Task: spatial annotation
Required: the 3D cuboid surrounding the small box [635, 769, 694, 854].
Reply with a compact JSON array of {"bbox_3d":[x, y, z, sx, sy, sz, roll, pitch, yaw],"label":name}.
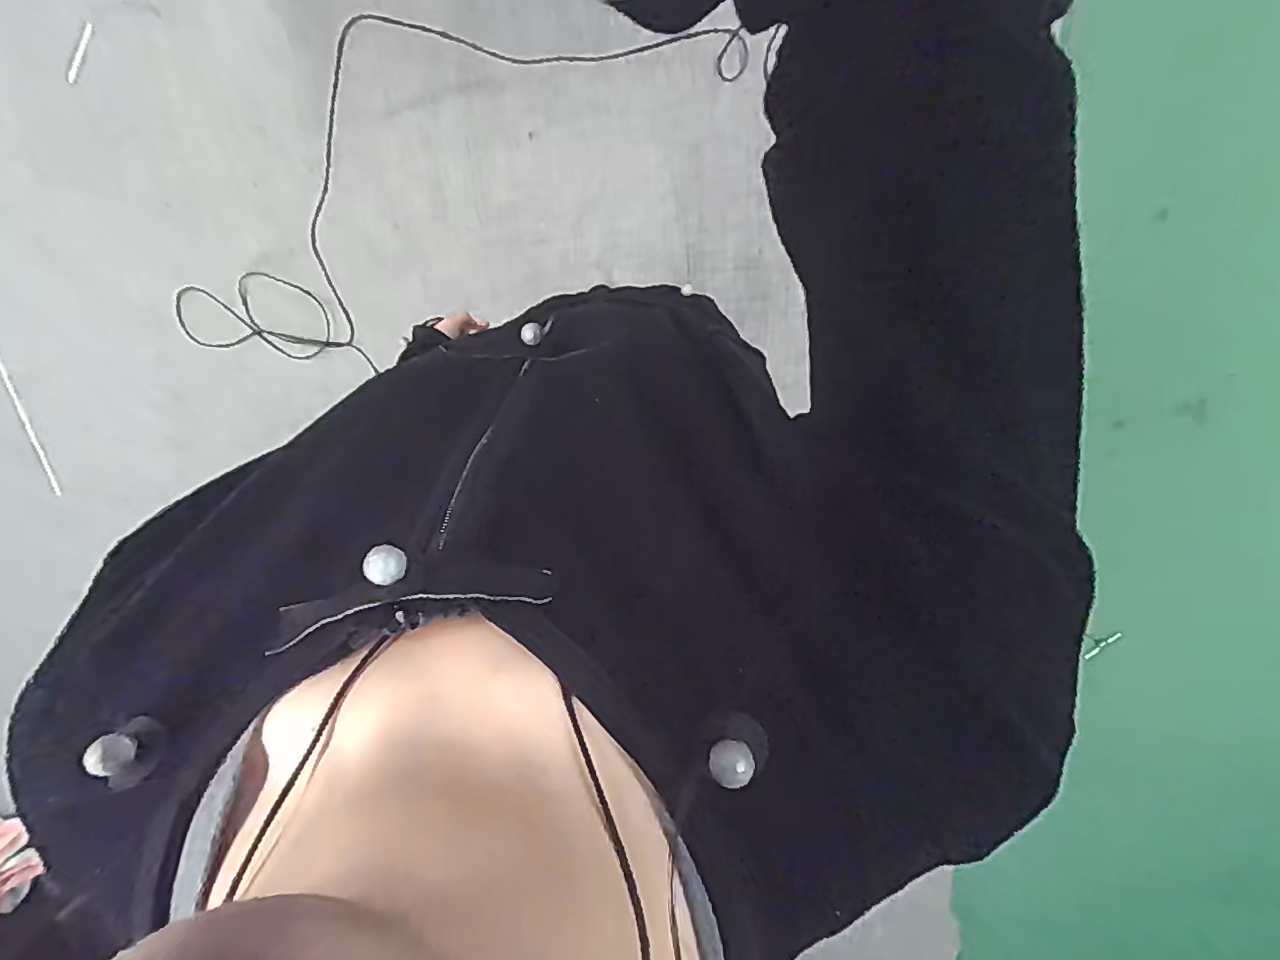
[{"bbox_3d":[0.076,1.050,1.722,0.179,0.176,0.168,-4,106,2],"label":"small box"}]
